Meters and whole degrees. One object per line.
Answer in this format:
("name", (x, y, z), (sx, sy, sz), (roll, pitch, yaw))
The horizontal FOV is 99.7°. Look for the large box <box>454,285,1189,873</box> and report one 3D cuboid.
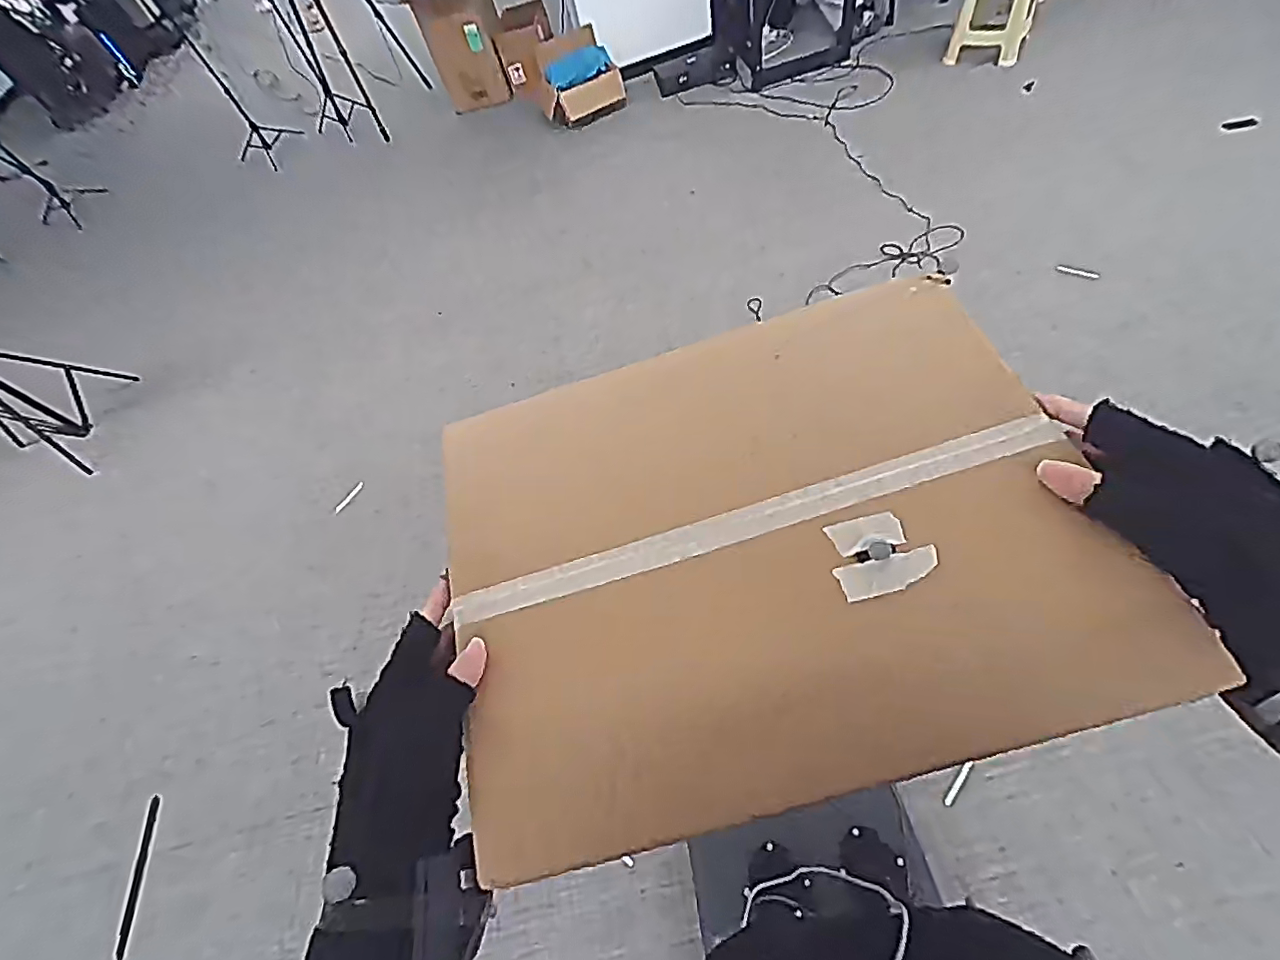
("large box", (0.097, 0.099, 0.497), (0.408, 0.320, 0.320), (-18, 62, 3))
